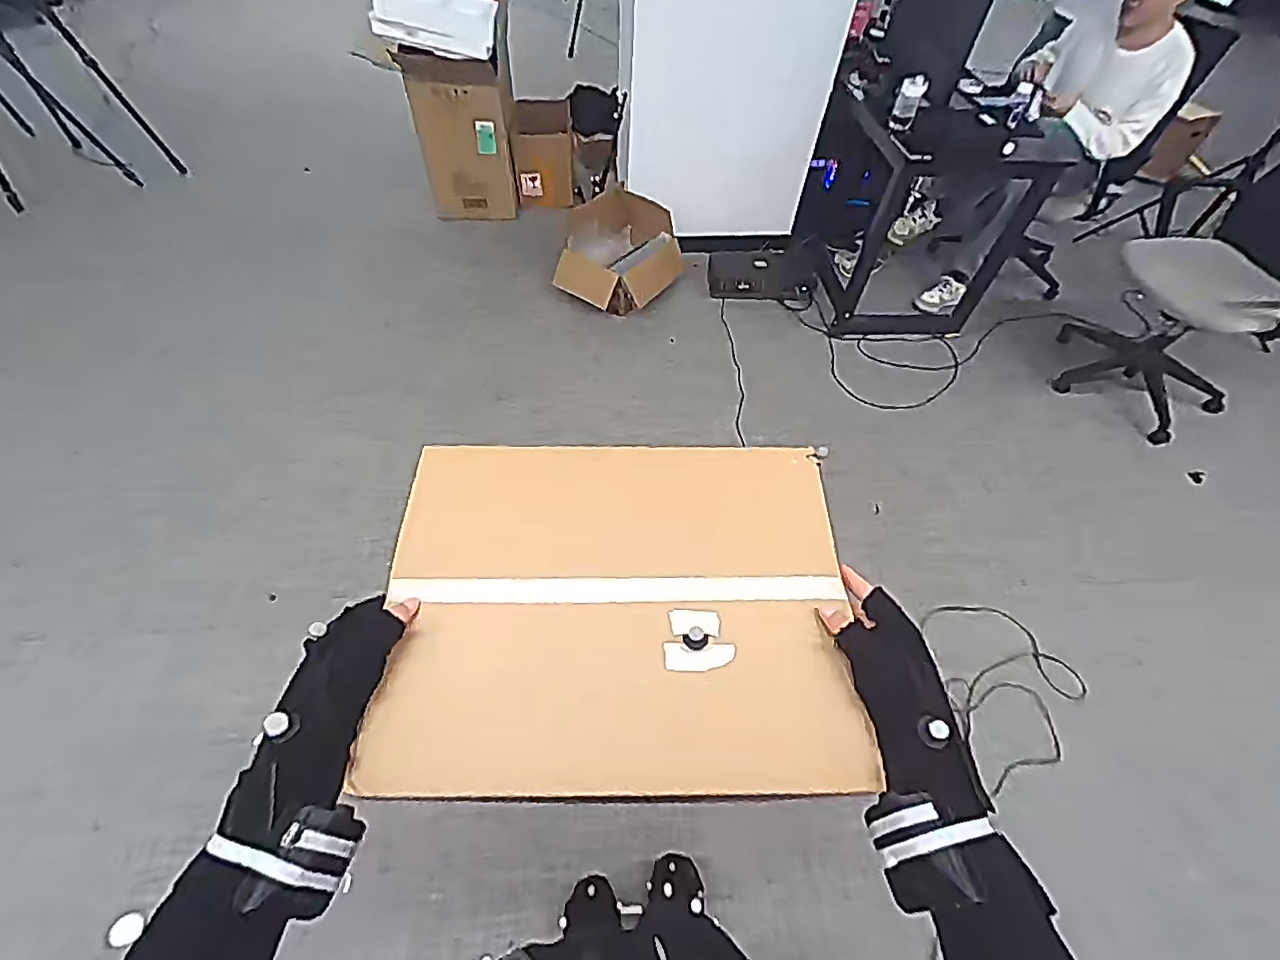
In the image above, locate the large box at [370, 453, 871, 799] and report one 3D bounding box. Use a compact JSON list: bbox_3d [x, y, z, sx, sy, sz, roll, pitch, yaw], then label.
[{"bbox_3d":[-0.020,0.180,0.626,0.408,0.320,0.320,0,59,-1],"label":"large box"}]
